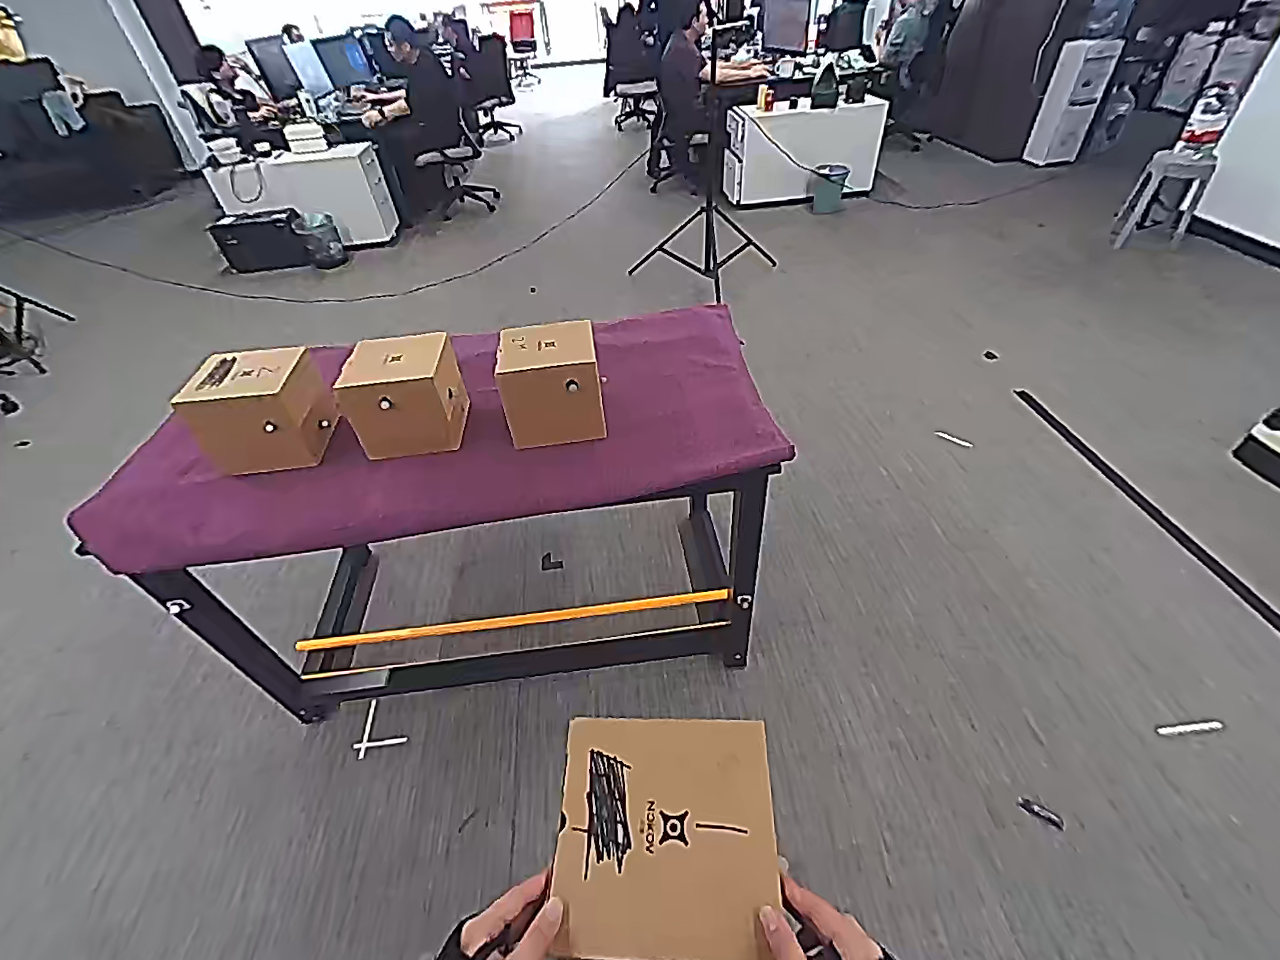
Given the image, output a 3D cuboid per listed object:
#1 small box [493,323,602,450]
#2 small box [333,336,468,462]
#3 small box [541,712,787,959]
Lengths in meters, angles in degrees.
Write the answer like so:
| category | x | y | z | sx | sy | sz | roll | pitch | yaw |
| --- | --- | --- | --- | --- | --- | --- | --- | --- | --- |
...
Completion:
| category | x | y | z | sx | sy | sz | roll | pitch | yaw |
| --- | --- | --- | --- | --- | --- | --- | --- | --- | --- |
| small box | -0.167 | -0.177 | 1.031 | 0.179 | 0.176 | 0.168 | -8 | 41 | -2 |
| small box | -0.444 | -0.153 | 1.041 | 0.179 | 0.176 | 0.168 | -8 | 43 | -1 |
| small box | 0.028 | 0.323 | 0.483 | 0.179 | 0.176 | 0.168 | -2 | 46 | 6 |
